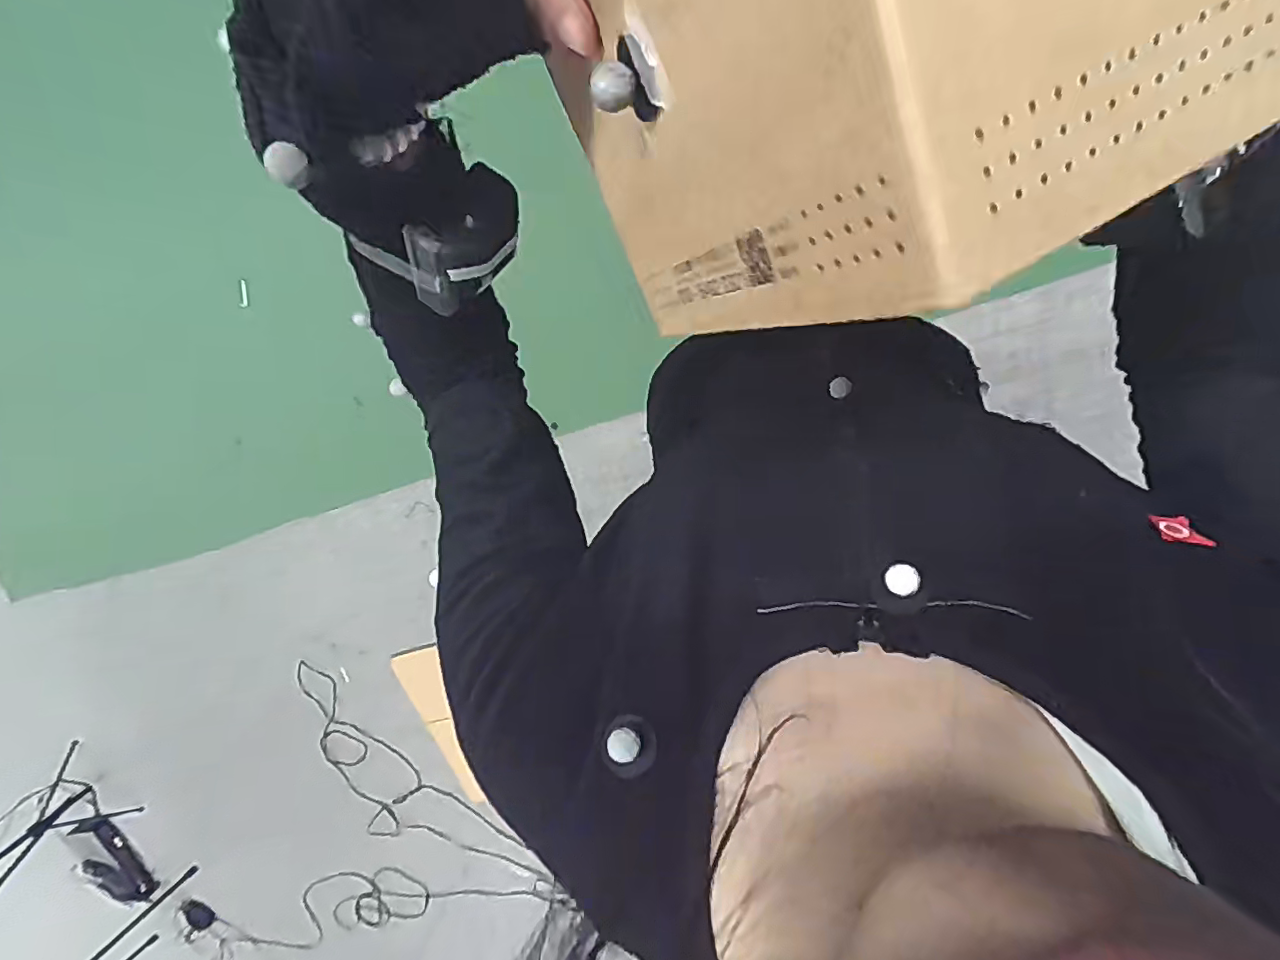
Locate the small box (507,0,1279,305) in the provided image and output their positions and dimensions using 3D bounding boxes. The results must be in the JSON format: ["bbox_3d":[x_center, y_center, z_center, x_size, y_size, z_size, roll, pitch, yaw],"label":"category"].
[{"bbox_3d":[0.070,-0.165,0.166,0.179,0.168,0.176,-31,112,-9],"label":"small box"}]
